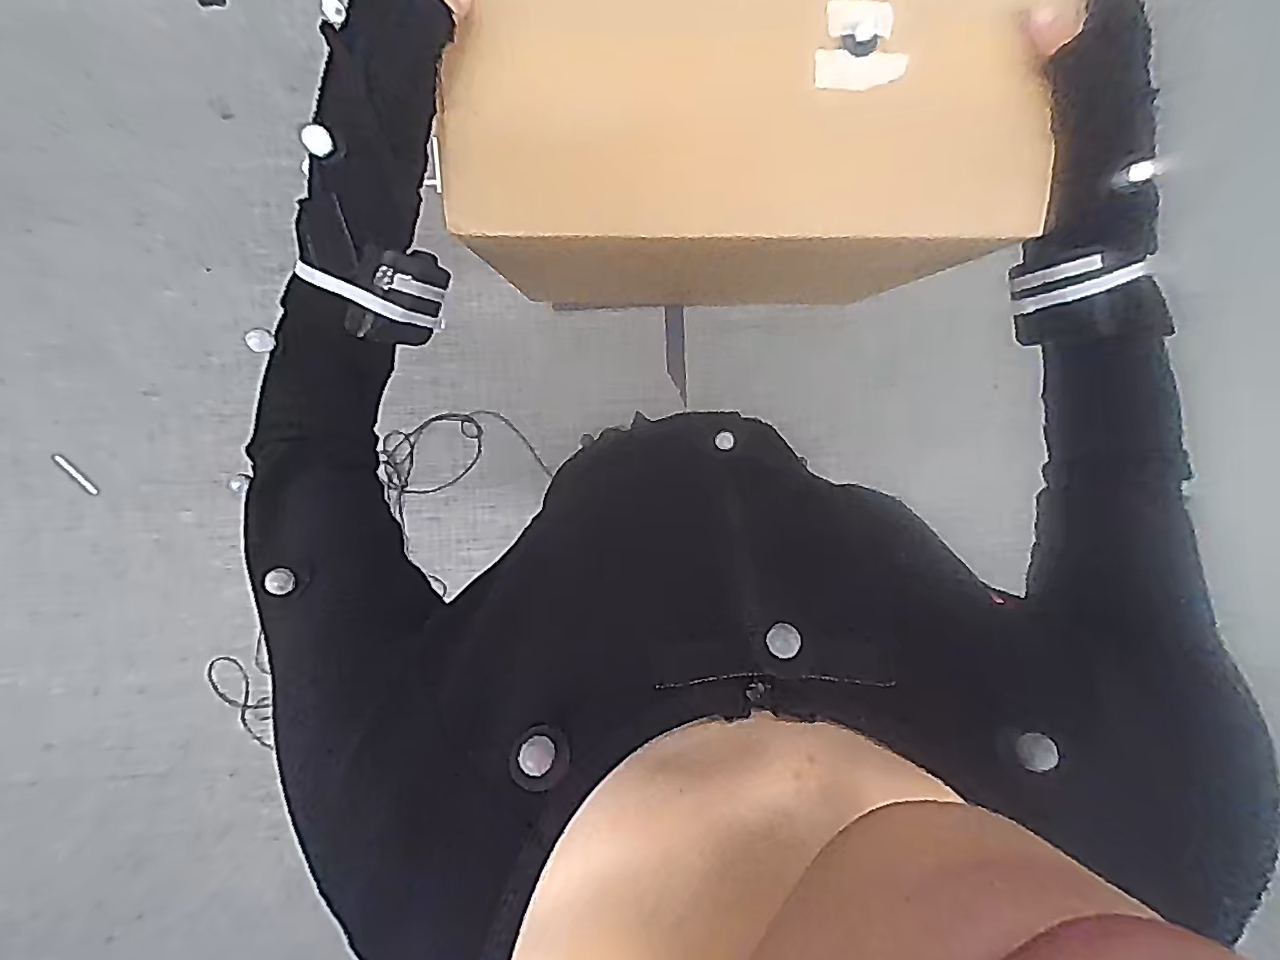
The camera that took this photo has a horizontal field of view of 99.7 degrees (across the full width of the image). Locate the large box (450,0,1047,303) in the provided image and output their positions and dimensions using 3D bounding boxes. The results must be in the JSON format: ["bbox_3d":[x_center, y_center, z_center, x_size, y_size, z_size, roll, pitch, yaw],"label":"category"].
[{"bbox_3d":[0.067,-0.352,0.502,0.408,0.320,0.320,-1,100,-2],"label":"large box"}]
